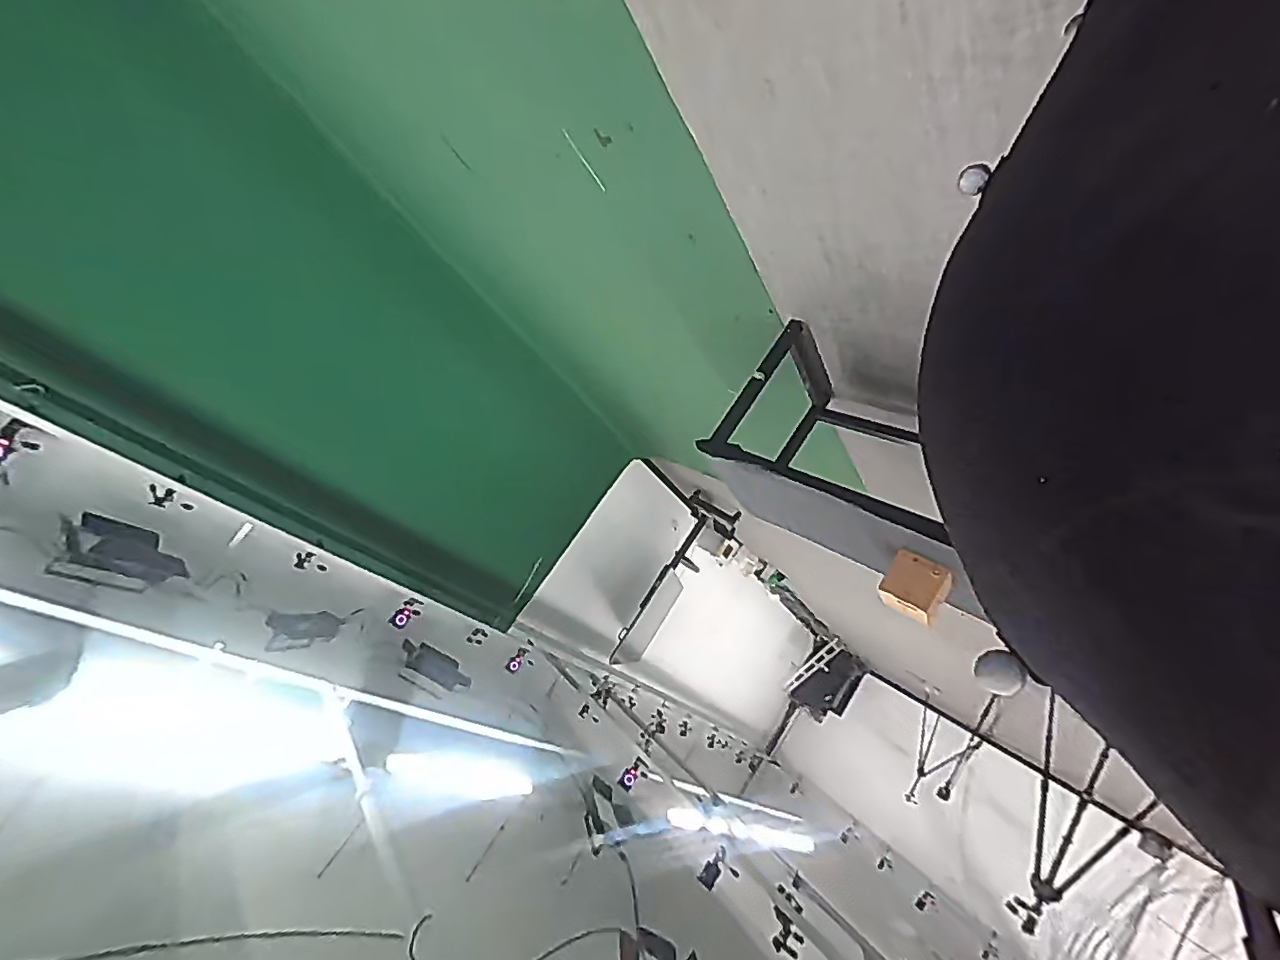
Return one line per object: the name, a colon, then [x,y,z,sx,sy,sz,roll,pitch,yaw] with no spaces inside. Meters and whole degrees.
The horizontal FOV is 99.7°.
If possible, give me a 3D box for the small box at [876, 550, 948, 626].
small box: [0.932,0.365,1.848,0.168,0.176,0.179,28,168,39]
